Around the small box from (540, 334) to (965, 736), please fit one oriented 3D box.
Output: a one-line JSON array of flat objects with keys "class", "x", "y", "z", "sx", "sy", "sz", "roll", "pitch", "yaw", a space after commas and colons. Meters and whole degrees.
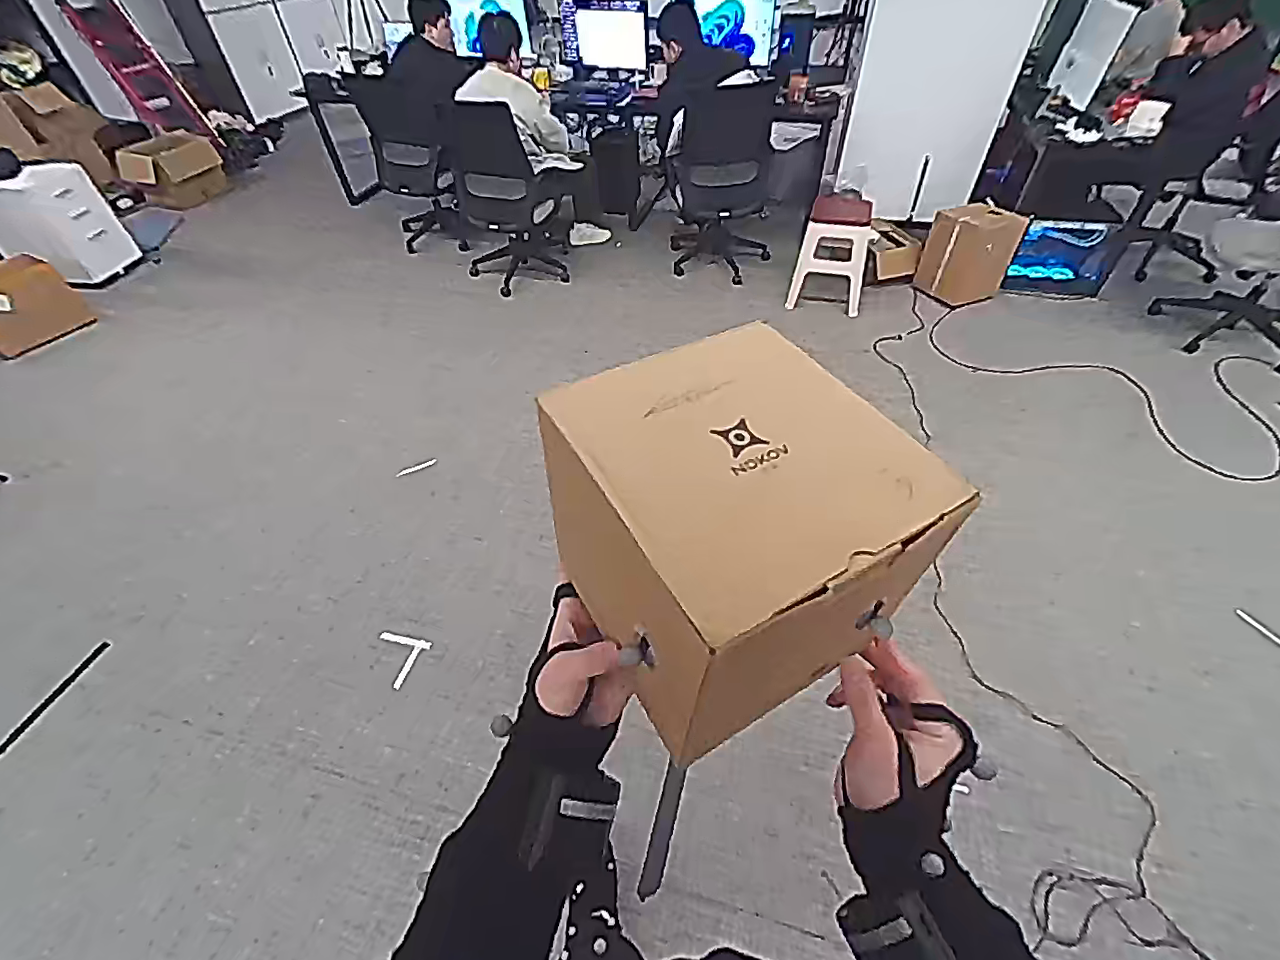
[{"class": "small box", "x": 0.052, "y": 0.039, "z": 0.353, "sx": 0.168, "sy": 0.176, "sz": 0.179, "roll": -23, "pitch": 53, "yaw": -22}]
